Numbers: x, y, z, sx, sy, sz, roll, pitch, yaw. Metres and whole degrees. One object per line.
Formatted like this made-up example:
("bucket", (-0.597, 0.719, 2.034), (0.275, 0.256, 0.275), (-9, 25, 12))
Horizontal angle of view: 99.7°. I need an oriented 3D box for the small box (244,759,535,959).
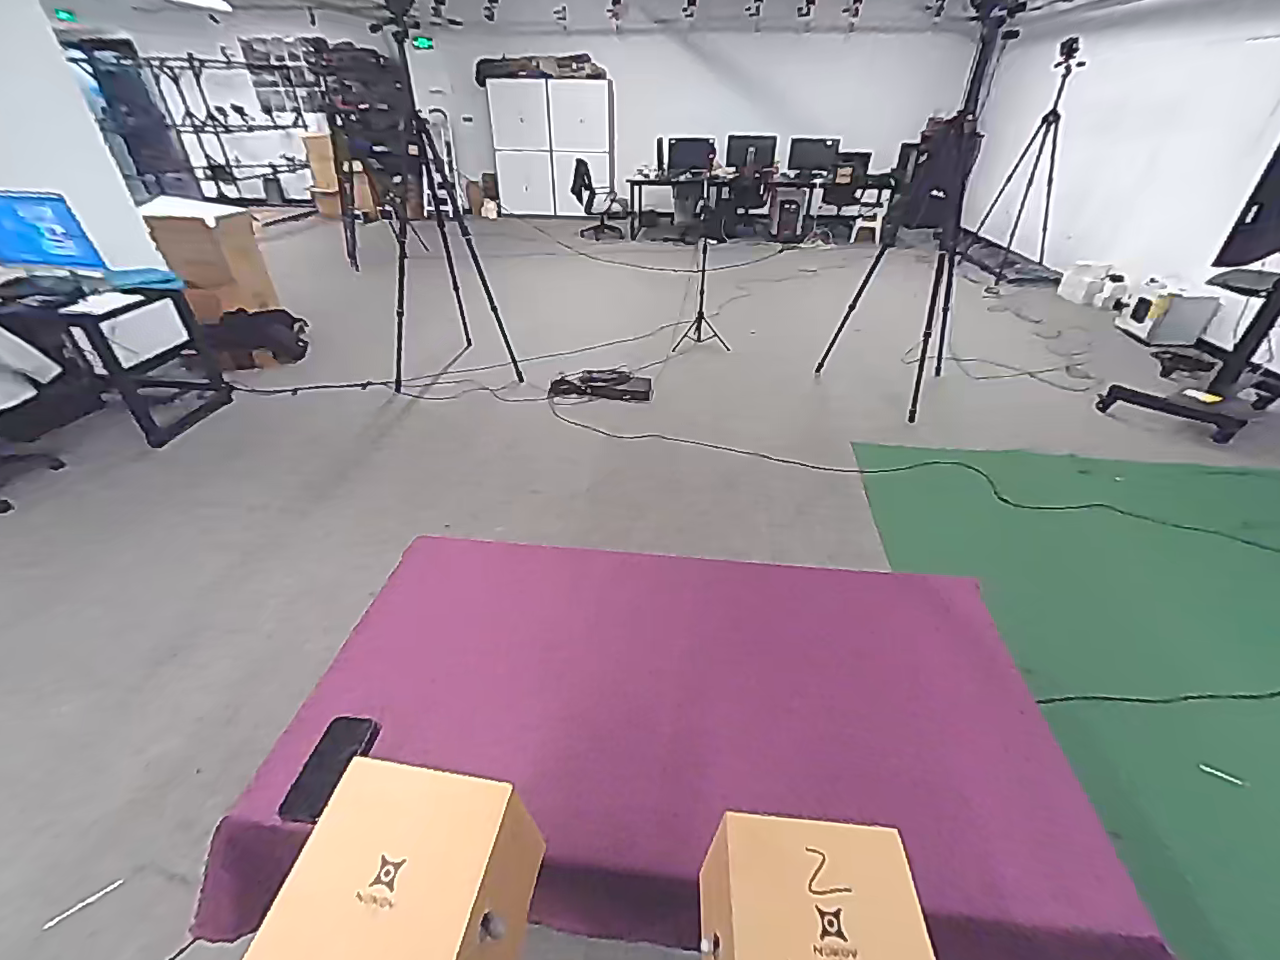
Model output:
("small box", (-0.204, 0.391, 0.494), (0.168, 0.176, 0.179), (5, 43, 10))
